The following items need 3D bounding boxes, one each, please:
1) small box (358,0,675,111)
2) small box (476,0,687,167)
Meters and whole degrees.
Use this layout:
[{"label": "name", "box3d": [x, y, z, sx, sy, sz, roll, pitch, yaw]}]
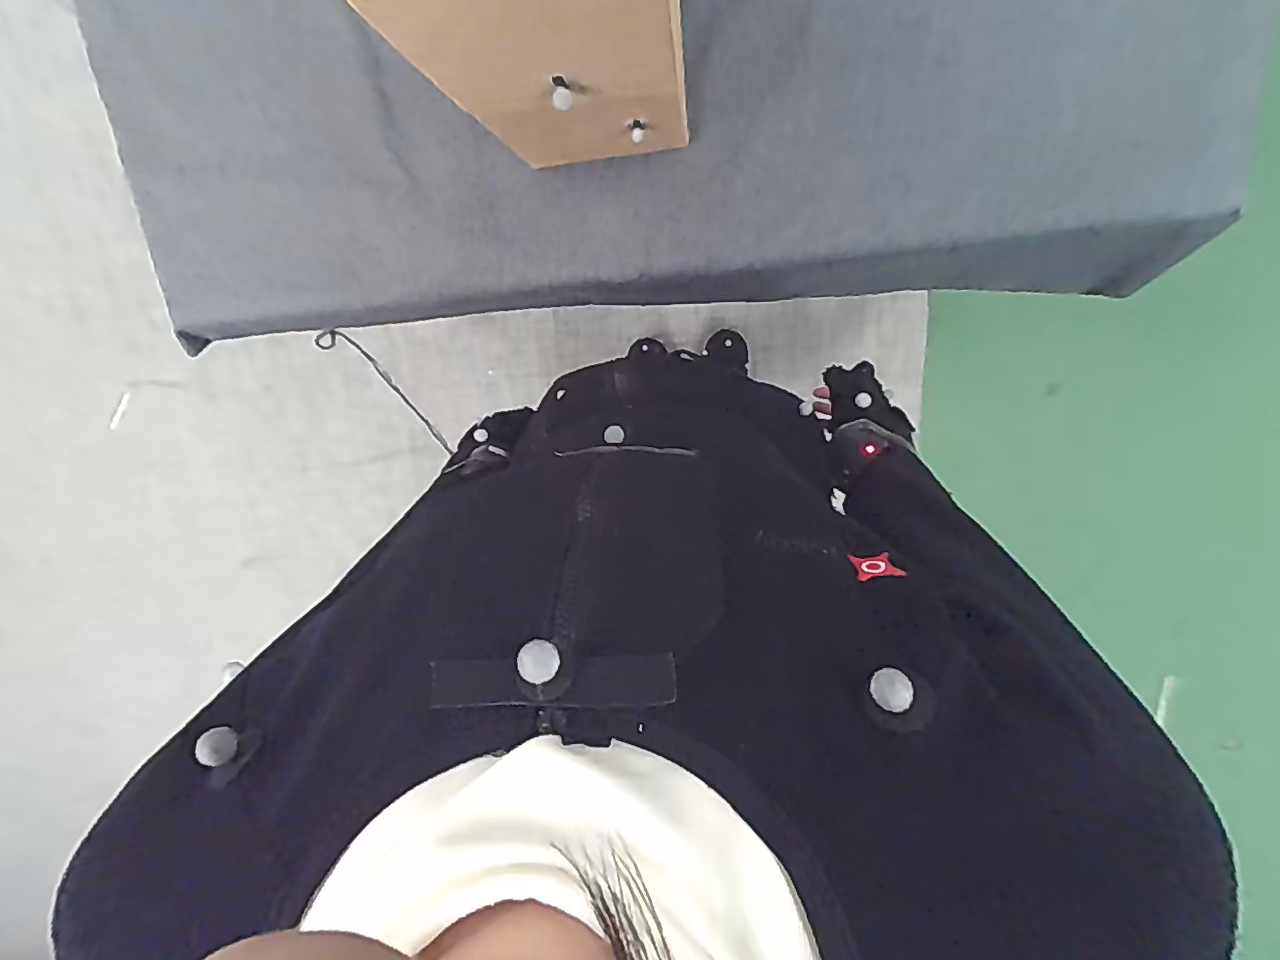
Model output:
[{"label": "small box", "box3d": [-0.068, -0.364, 0.343, 0.179, 0.176, 0.168, -2, 105, 7]}, {"label": "small box", "box3d": [-0.050, -0.411, 0.498, 0.179, 0.176, 0.168, -4, 104, 10]}]
